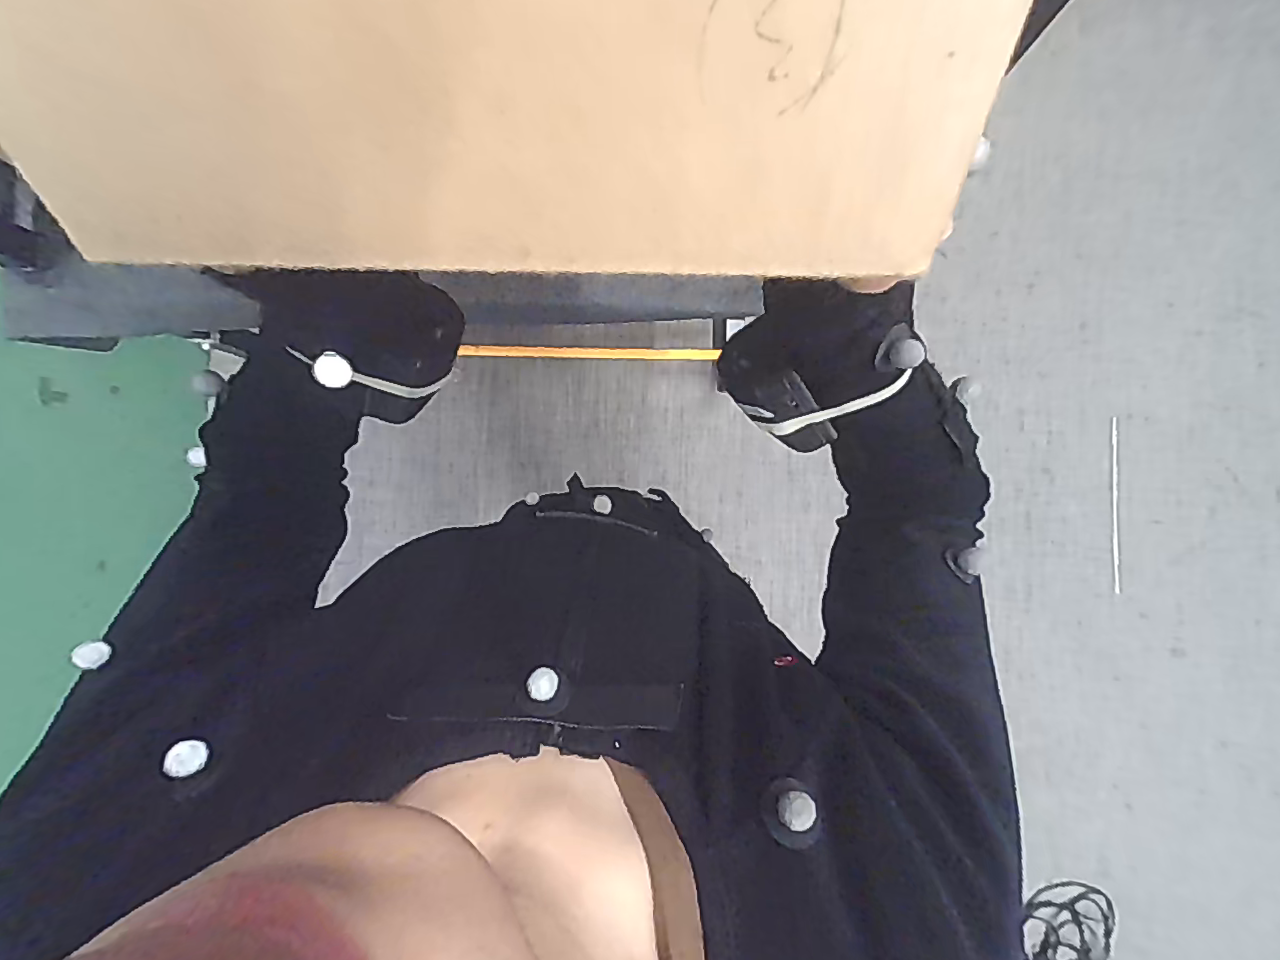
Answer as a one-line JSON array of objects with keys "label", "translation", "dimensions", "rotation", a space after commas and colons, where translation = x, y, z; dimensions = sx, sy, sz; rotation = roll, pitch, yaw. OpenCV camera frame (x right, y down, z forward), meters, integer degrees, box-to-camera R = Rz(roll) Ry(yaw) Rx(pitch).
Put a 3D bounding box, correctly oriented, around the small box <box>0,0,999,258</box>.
[{"label": "small box", "translation": [-0.024, -0.164, 0.107], "dimensions": [0.168, 0.176, 0.179], "rotation": [1, 131, 1]}]
